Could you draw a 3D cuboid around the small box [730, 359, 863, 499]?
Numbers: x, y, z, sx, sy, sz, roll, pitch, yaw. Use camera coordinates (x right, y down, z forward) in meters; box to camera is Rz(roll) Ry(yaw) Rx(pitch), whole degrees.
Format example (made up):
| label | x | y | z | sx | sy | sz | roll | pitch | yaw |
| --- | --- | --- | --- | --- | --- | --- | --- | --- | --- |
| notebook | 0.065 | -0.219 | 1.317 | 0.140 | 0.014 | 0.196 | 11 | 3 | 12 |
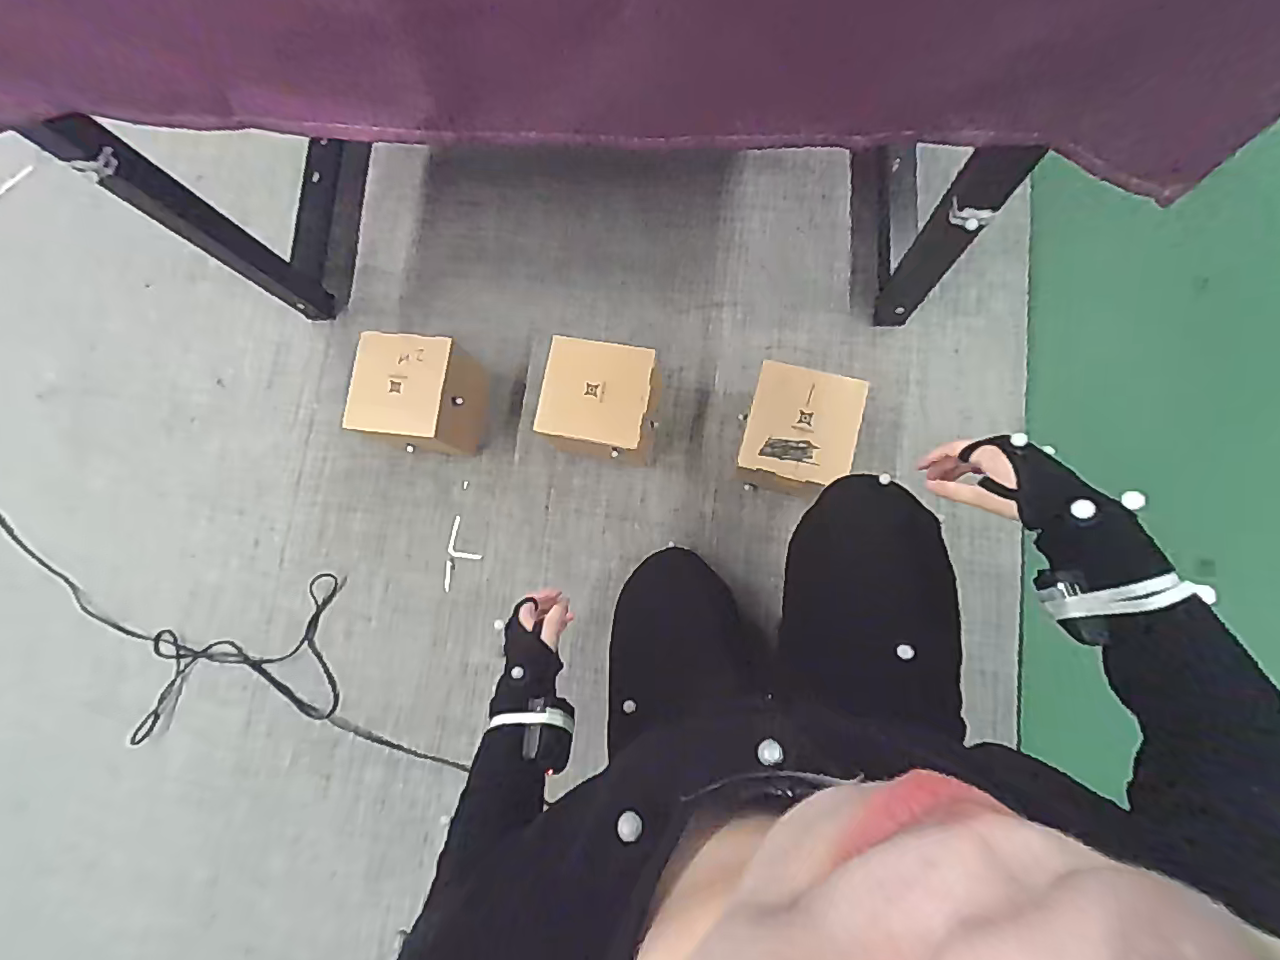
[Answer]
| label | x | y | z | sx | sy | sz | roll | pitch | yaw |
| --- | --- | --- | --- | --- | --- | --- | --- | --- | --- |
| small box | 0.249 | -0.075 | 0.899 | 0.168 | 0.176 | 0.179 | 15 | 82 | 8 |
